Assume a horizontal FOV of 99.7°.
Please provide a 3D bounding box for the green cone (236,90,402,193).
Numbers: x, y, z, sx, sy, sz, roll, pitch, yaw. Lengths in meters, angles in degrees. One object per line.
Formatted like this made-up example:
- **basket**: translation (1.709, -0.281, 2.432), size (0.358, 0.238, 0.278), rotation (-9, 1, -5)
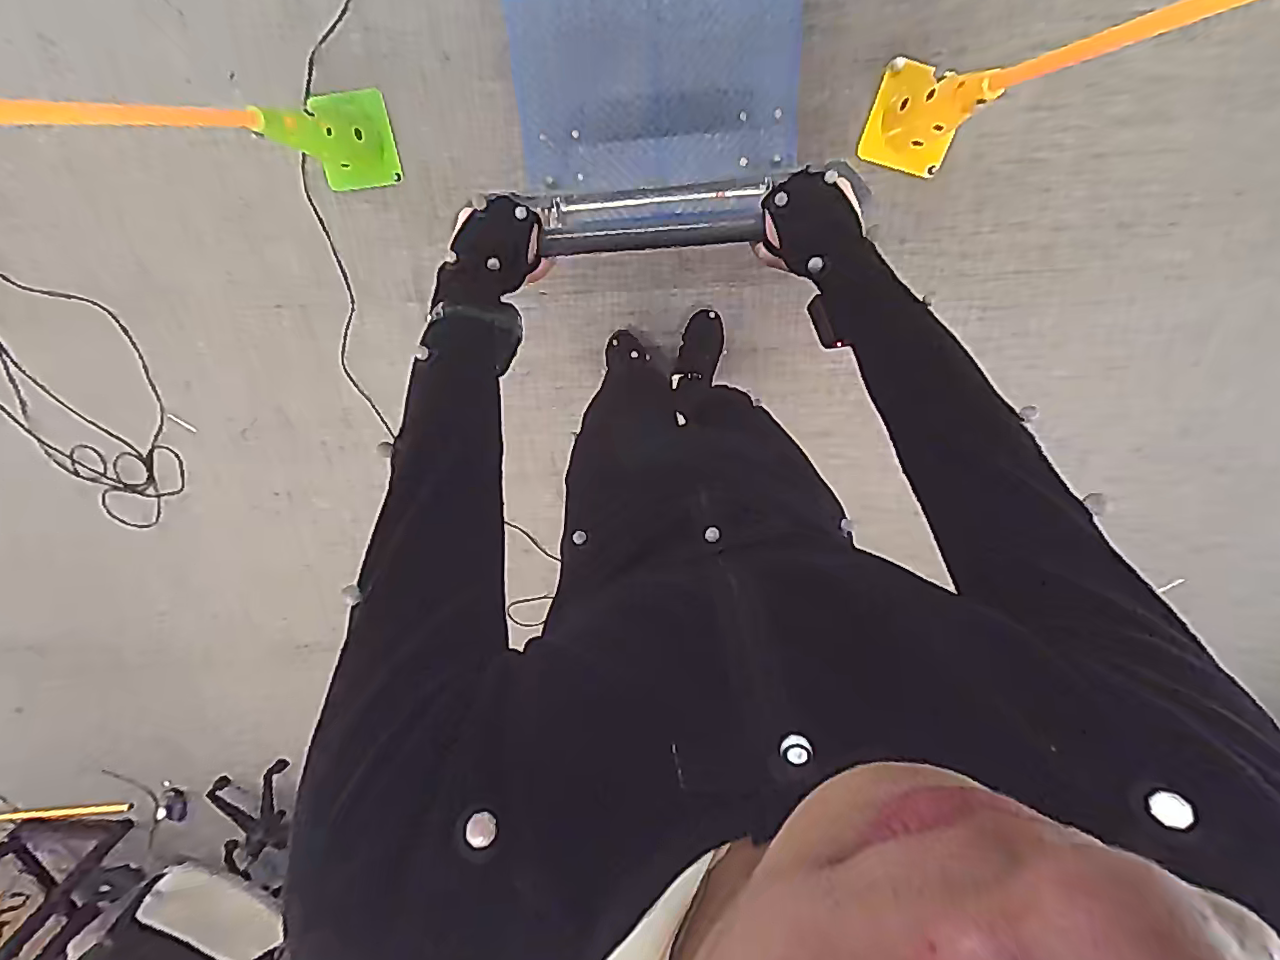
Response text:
- **green cone**: translation (-0.718, -0.756, 1.177), size (0.202, 0.368, 0.200), rotation (-4, 115, 9)
